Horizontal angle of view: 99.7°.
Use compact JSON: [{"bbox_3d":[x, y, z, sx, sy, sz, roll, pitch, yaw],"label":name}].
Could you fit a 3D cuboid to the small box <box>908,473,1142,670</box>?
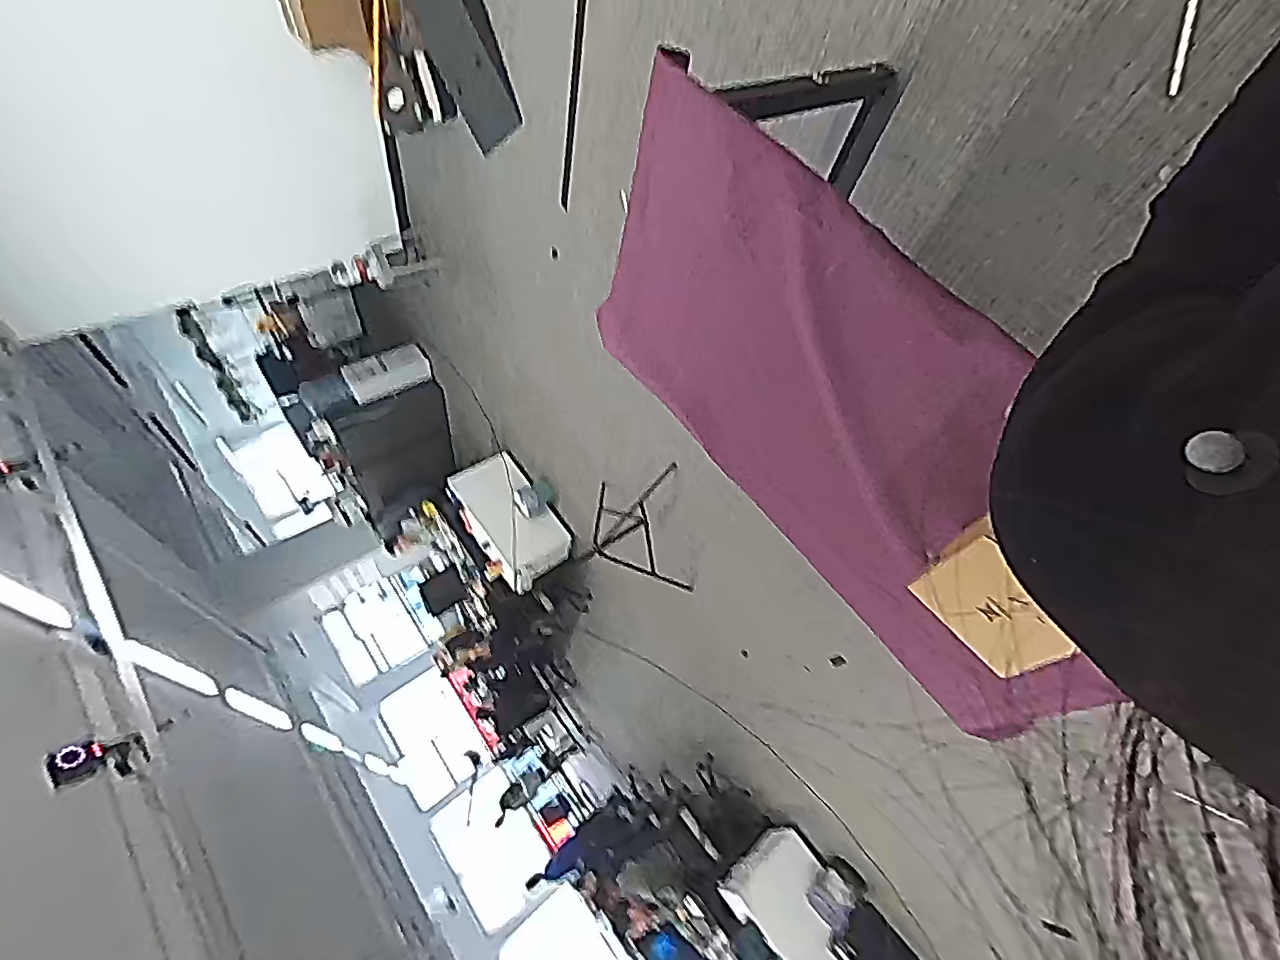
[{"bbox_3d":[0.522,0.124,0.743,0.168,0.176,0.179,48,150,20],"label":"small box"}]
